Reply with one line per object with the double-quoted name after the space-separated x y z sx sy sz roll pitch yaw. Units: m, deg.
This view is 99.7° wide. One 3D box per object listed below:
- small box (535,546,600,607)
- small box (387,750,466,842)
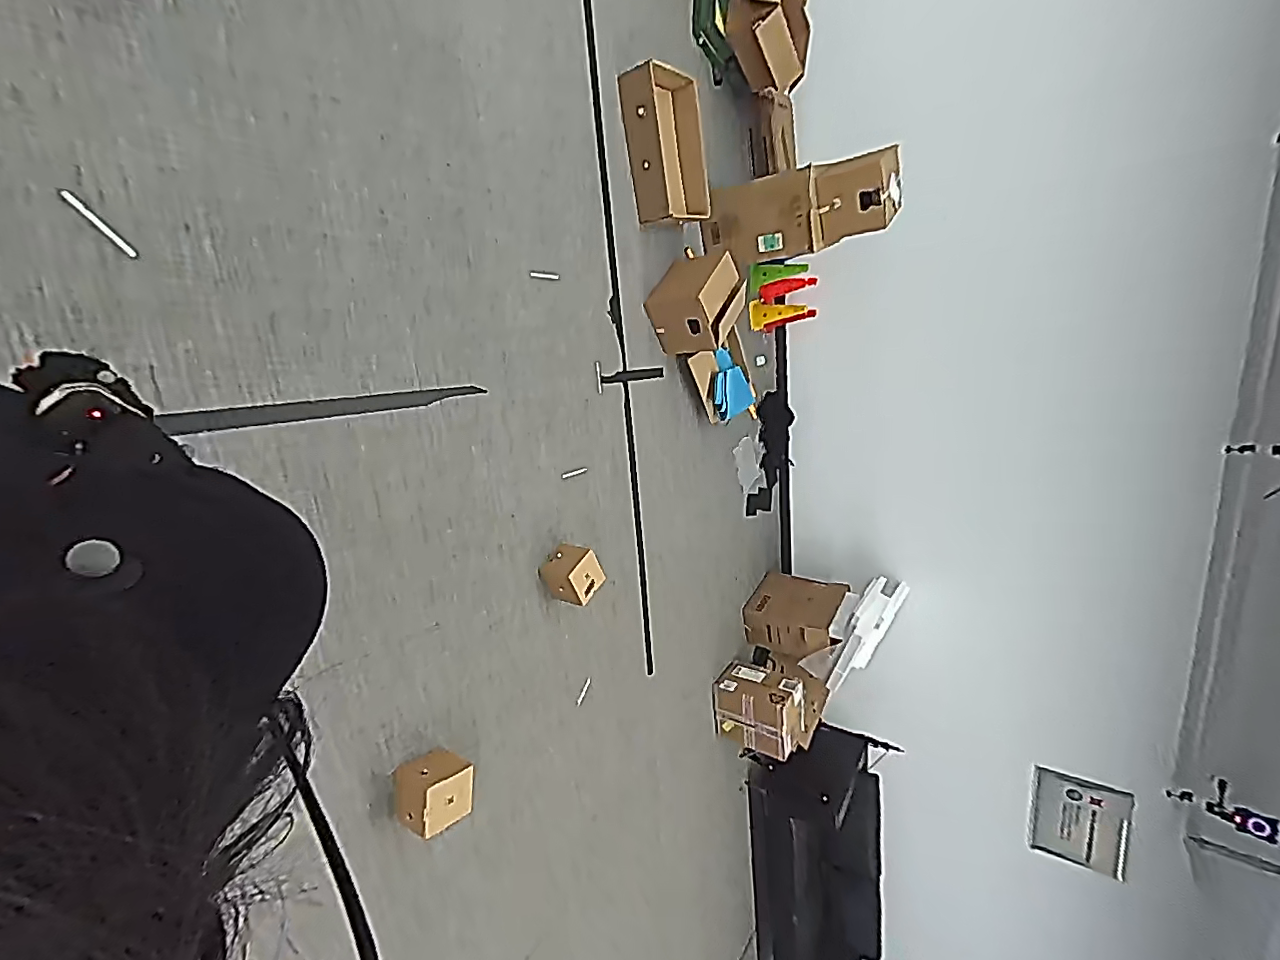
-0.299 0.391 2.220 0.168 0.176 0.179 -50 131 -40 "small box"
-0.689 1.008 1.741 0.179 0.176 0.168 -1 96 -56 "small box"
